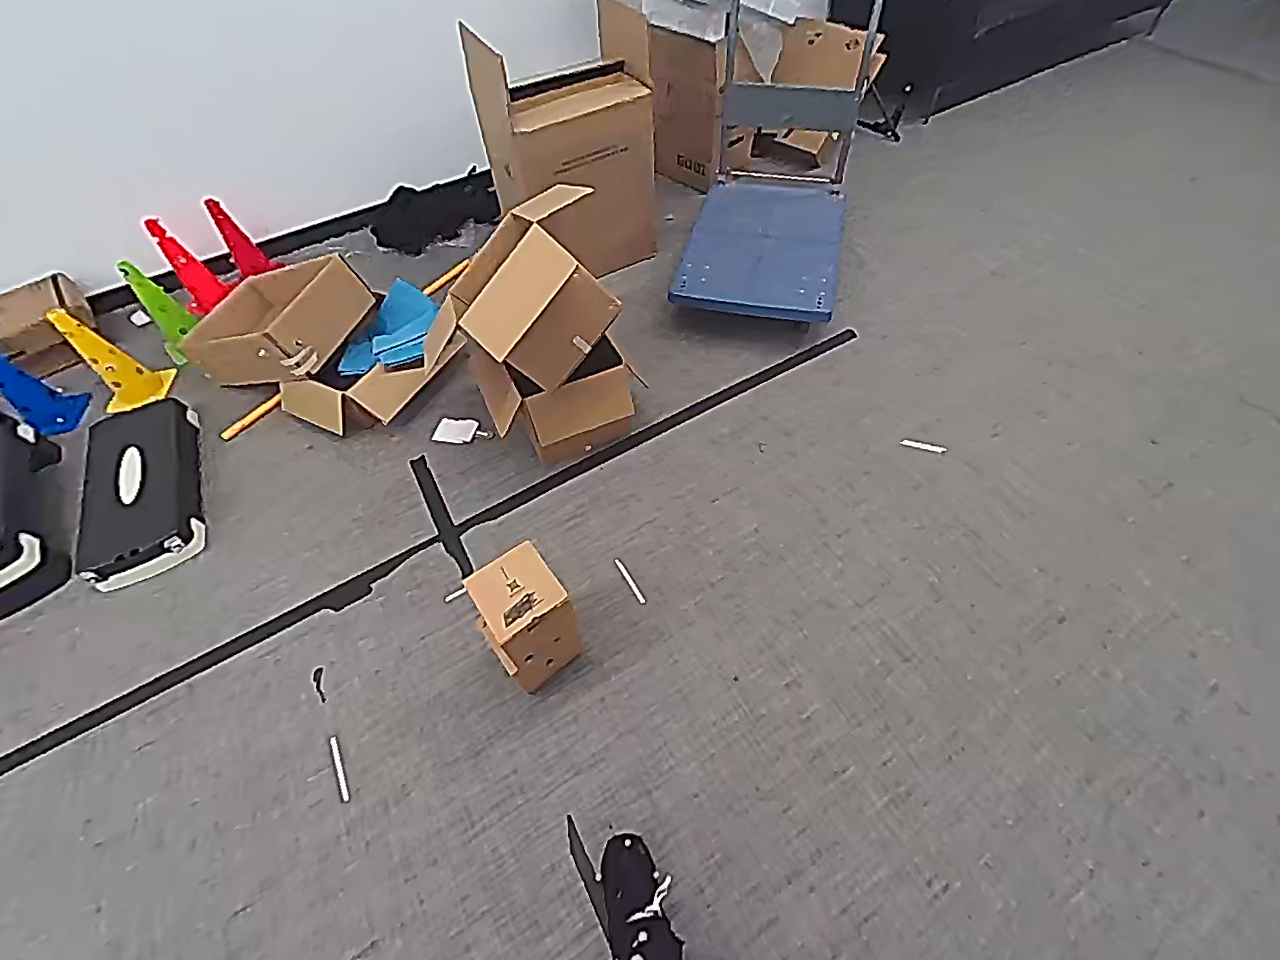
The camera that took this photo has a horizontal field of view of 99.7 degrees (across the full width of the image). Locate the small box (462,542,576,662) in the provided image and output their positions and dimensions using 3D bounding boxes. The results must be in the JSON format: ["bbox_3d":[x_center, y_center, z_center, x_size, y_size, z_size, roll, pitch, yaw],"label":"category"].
[{"bbox_3d":[-0.258,0.277,1.188,0.168,0.176,0.179,-32,58,-19],"label":"small box"}]
